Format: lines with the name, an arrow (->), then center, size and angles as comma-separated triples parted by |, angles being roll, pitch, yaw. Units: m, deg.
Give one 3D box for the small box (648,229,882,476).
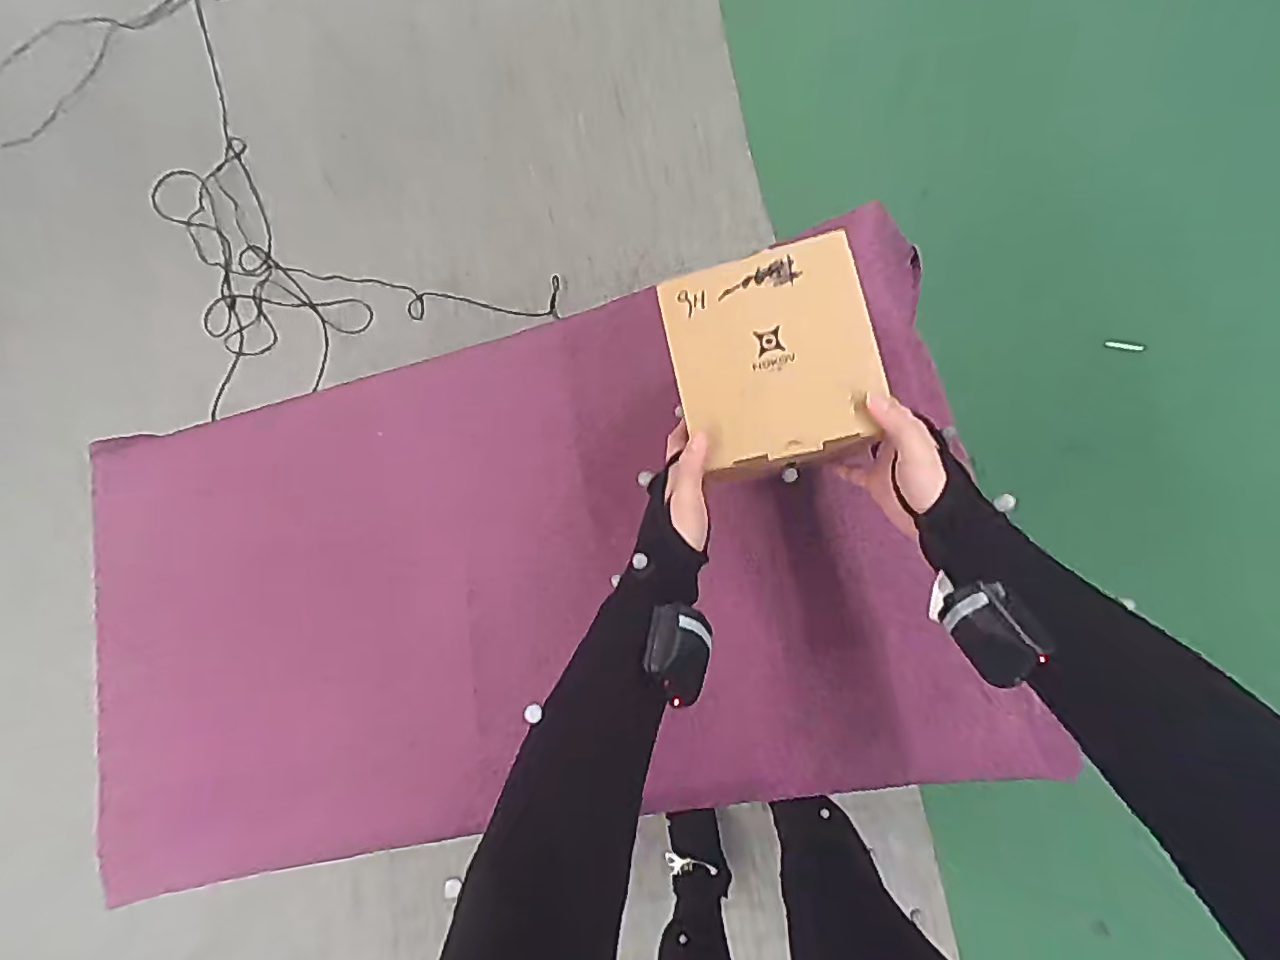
small box -> 0.118, -0.104, 0.533 | 0.168, 0.176, 0.179 | -13, 83, 10
